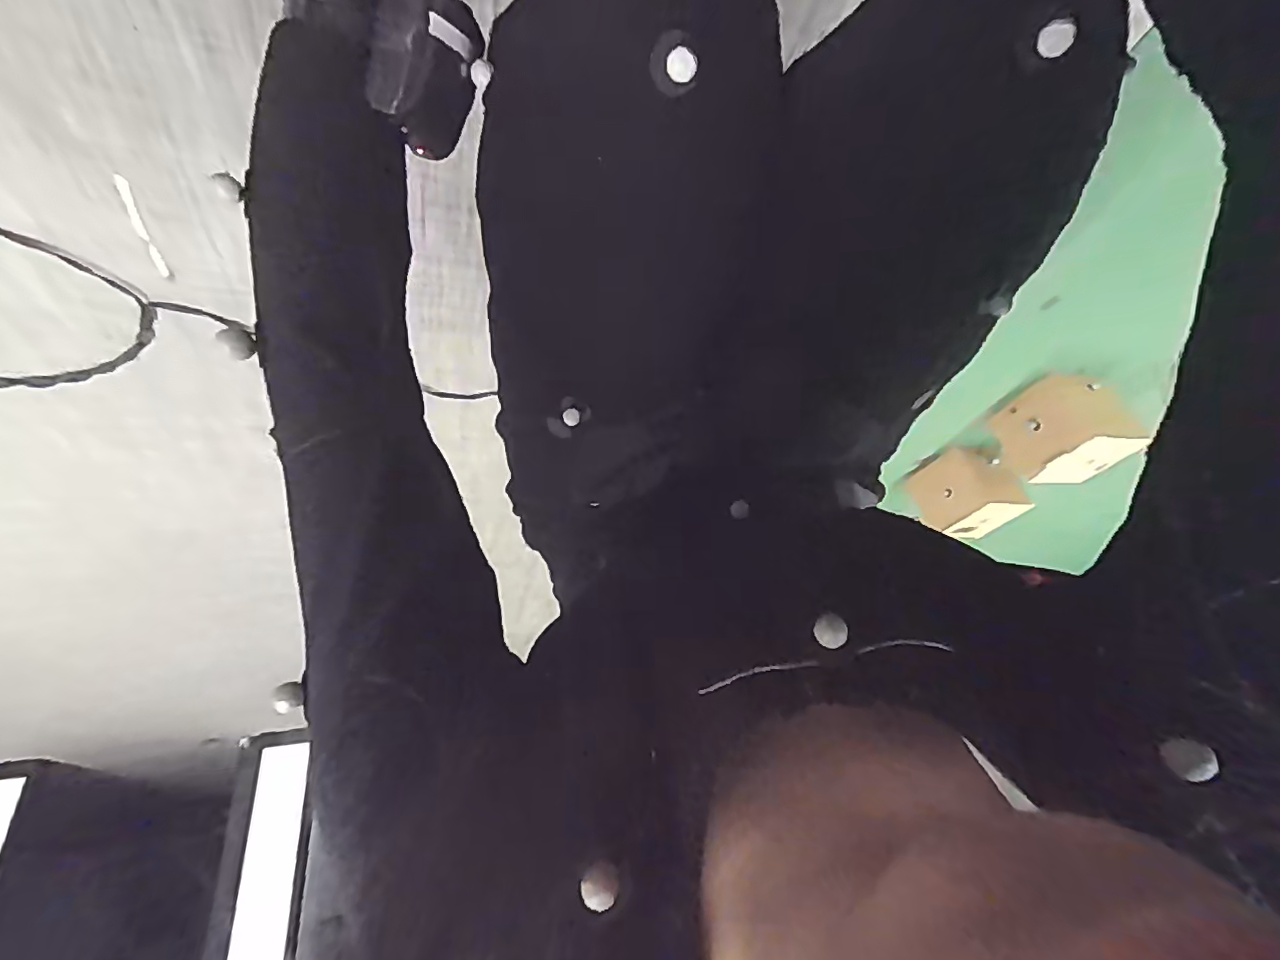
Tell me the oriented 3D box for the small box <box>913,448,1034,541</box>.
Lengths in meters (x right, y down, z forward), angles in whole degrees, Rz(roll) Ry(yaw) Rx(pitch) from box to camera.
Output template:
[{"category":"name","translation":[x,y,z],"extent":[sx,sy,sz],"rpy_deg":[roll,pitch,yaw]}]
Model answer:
[{"category":"small box","translation":[0.823,0.040,1.359],"extent":[0.168,0.176,0.179],"rpy_deg":[3,148,-21]}]

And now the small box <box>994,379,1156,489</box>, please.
[{"category":"small box","translation":[0.905,-0.097,1.145],"extent":[0.179,0.176,0.168],"rpy_deg":[2,148,-18]}]
